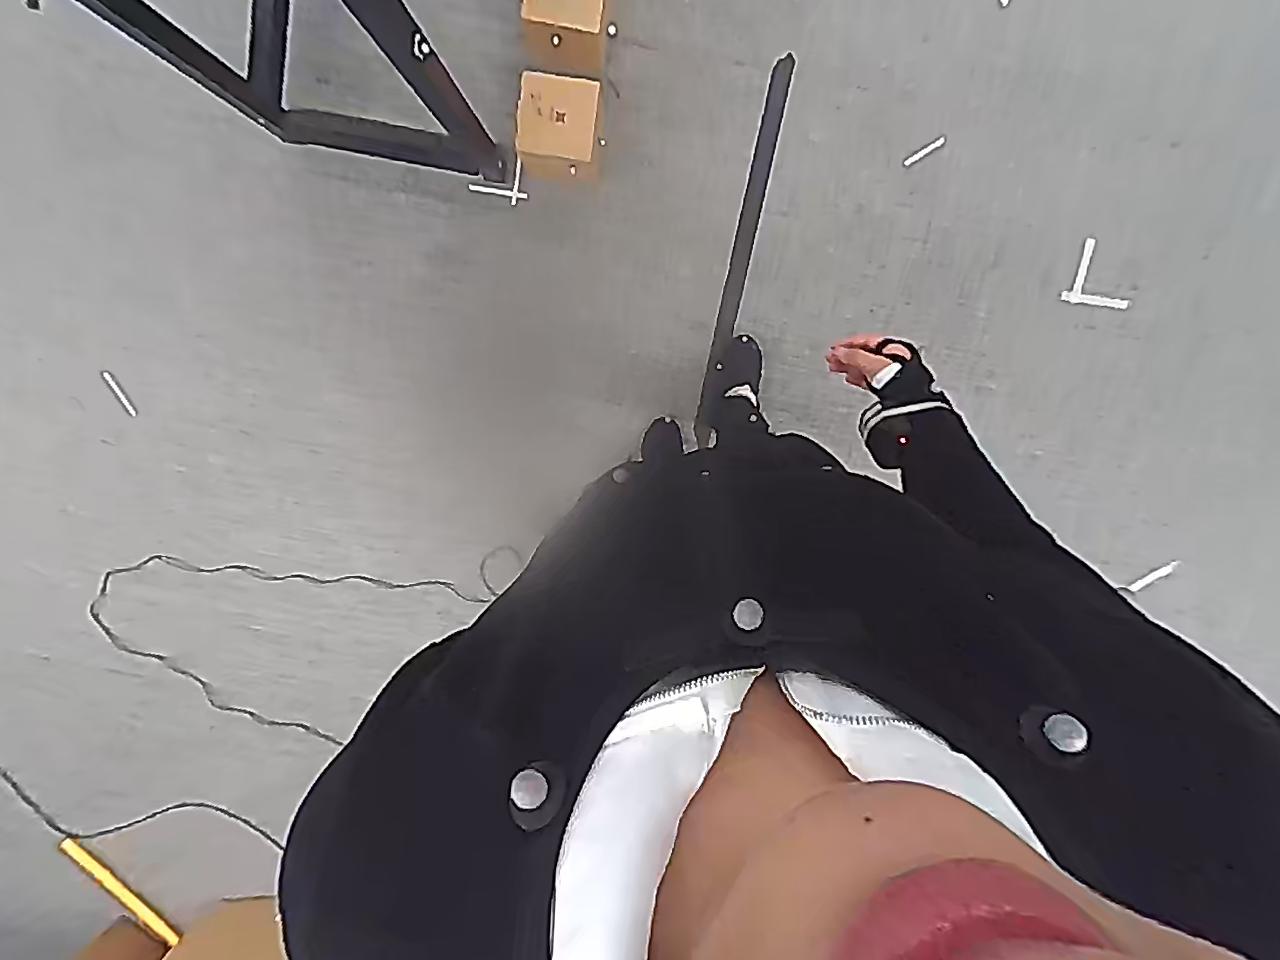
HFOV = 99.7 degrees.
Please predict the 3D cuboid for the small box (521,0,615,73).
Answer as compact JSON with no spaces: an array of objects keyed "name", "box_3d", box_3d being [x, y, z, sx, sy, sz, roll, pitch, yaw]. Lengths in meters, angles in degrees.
[{"name":"small box","box_3d":[-0.160,-1.077,1.239,0.179,0.176,0.168,10,100,-2]}]
